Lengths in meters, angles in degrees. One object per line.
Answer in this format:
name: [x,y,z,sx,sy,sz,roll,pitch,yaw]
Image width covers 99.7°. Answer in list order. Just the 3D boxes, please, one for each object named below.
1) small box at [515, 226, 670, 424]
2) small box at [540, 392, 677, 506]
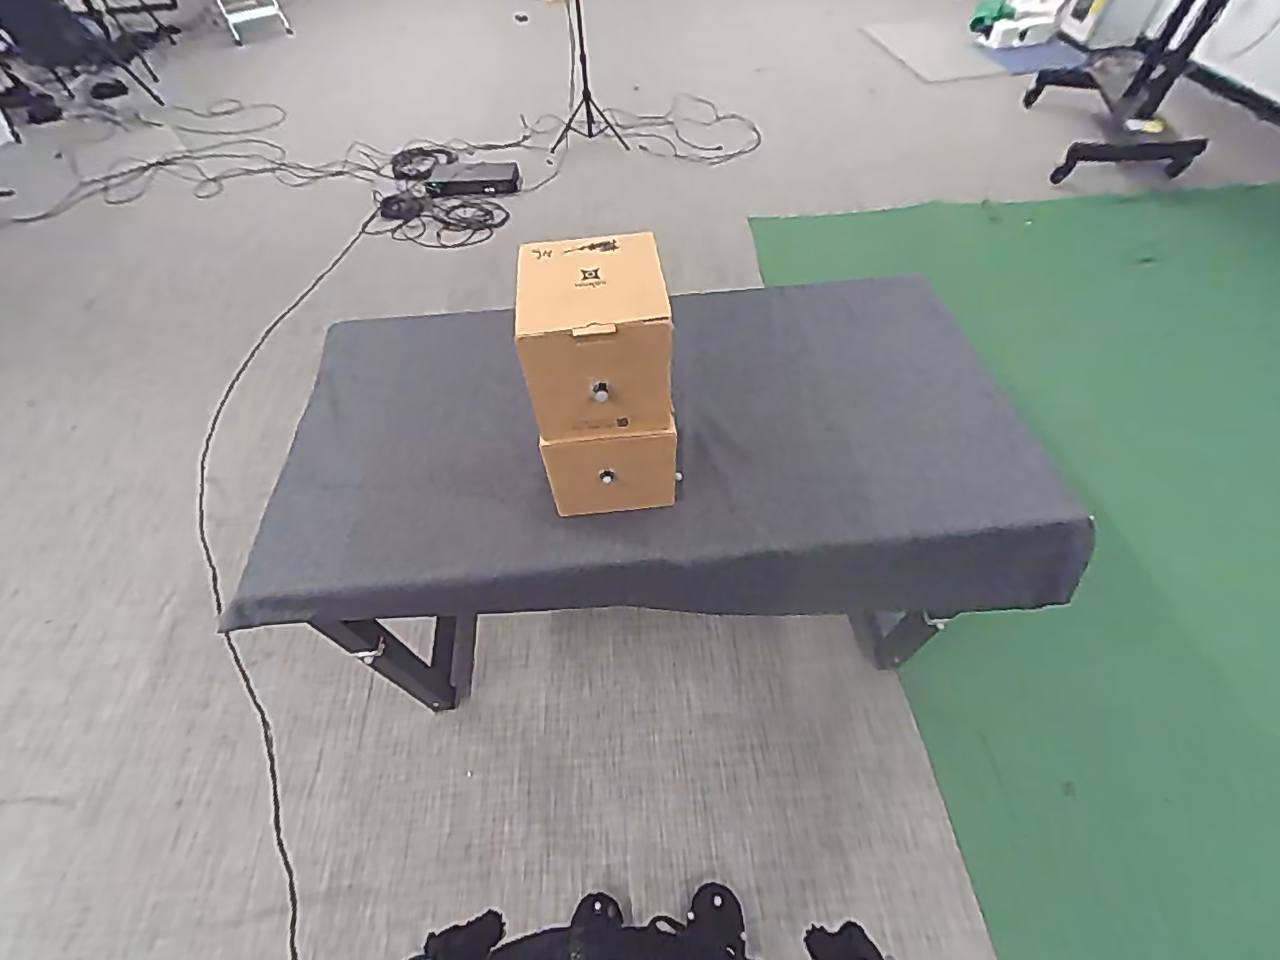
small box: [-0.052,-0.183,0.669,0.168,0.176,0.179,-6,55,-2]
small box: [-0.044,-0.077,0.794,0.179,0.176,0.168,-6,54,-1]
